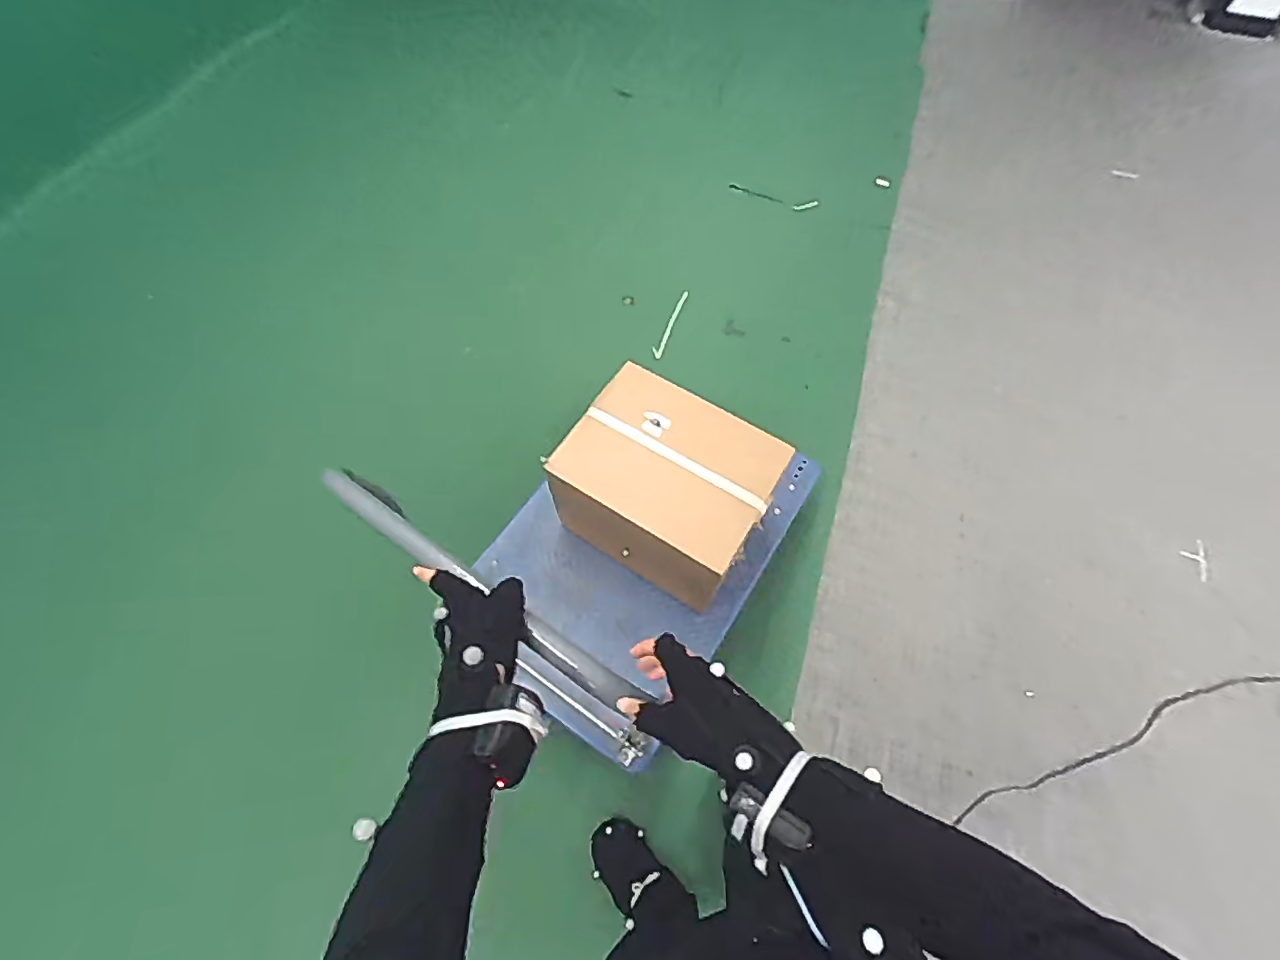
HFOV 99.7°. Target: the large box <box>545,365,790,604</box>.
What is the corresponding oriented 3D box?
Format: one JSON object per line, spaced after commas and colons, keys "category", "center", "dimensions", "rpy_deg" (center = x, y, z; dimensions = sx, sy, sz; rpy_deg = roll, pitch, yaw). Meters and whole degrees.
{"category": "large box", "center": [0.060, 0.020, 1.210], "dimensions": [0.408, 0.320, 0.320], "rpy_deg": [30, 67, 14]}
